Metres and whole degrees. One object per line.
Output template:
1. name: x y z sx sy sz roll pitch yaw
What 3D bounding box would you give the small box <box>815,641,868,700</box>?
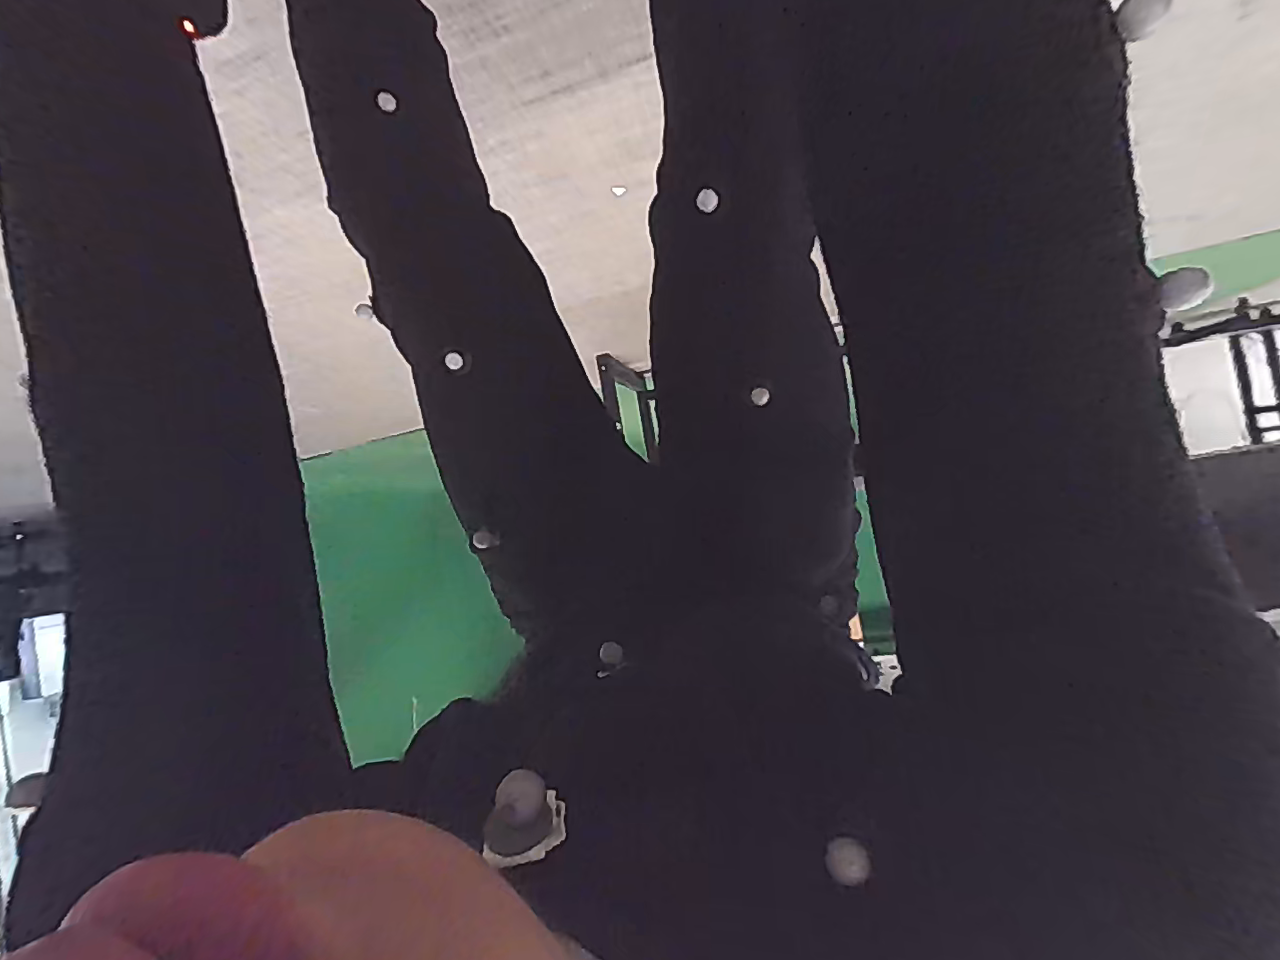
1. small box: 0.805 0.761 2.174 0.168 0.176 0.179 -12 177 16
